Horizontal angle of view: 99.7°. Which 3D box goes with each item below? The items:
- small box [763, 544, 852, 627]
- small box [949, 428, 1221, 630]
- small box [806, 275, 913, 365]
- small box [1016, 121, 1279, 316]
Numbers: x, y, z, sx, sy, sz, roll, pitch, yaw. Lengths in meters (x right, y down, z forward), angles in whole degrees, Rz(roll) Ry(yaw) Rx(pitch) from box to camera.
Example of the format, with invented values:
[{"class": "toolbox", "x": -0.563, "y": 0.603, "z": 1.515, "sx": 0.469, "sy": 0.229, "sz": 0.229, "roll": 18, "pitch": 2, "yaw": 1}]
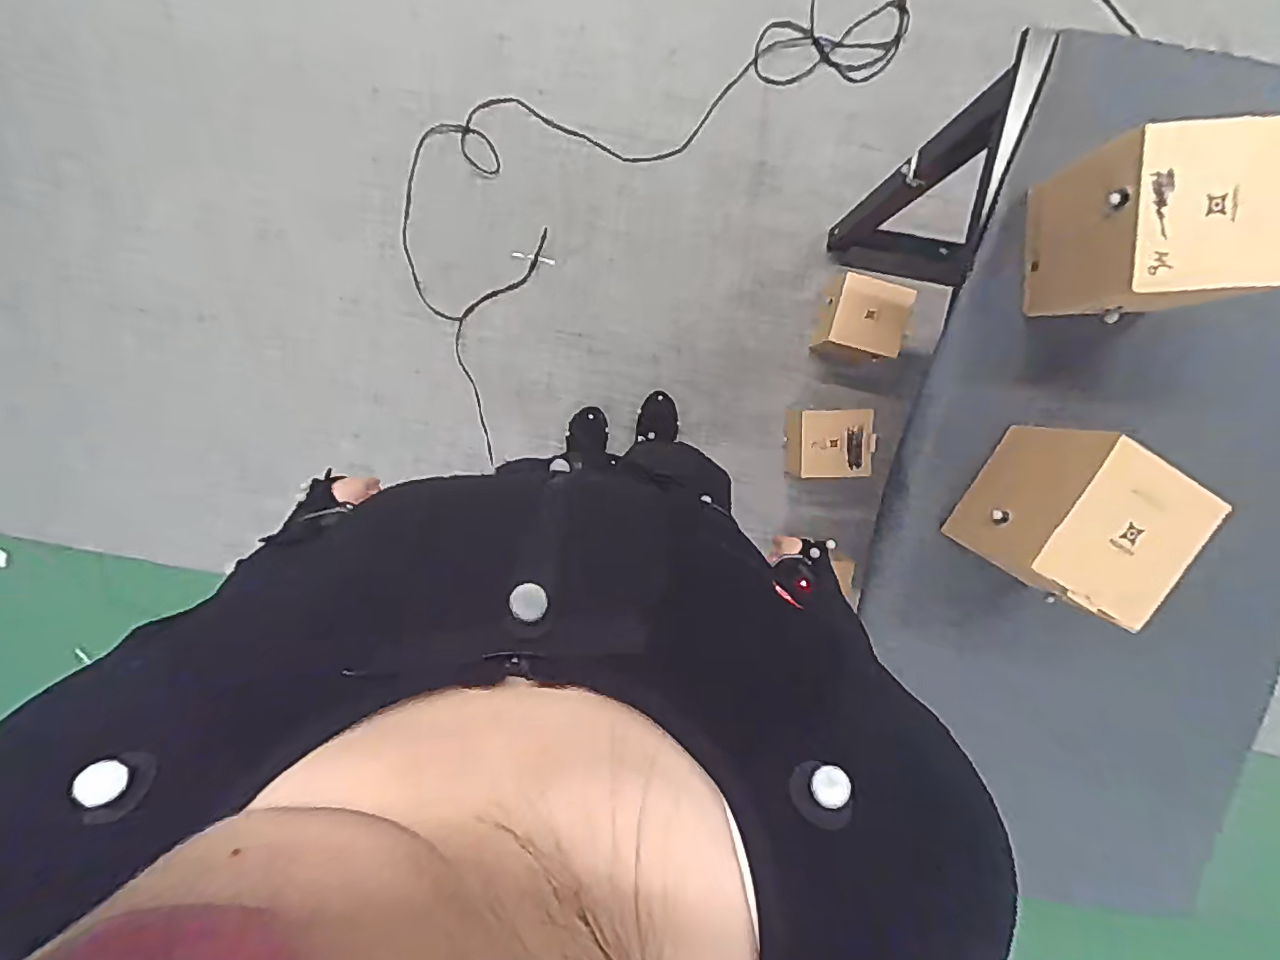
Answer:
[{"class": "small box", "x": 0.438, "y": 0.274, "z": 1.443, "sx": 0.179, "sy": 0.176, "sz": 0.168, "roll": 5, "pitch": 98, "yaw": -2}, {"class": "small box", "x": 0.533, "y": 0.049, "z": 0.680, "sx": 0.168, "sy": 0.176, "sz": 0.179, "roll": 29, "pitch": 95, "yaw": -8}, {"class": "small box", "x": 0.540, "y": -0.392, "z": 1.356, "sx": 0.179, "sy": 0.176, "sz": 0.168, "roll": 14, "pitch": 97, "yaw": -3}, {"class": "small box", "x": 0.588, "y": -0.290, "z": 0.633, "sx": 0.179, "sy": 0.176, "sz": 0.168, "roll": -3, "pitch": 98, "yaw": 0}]
